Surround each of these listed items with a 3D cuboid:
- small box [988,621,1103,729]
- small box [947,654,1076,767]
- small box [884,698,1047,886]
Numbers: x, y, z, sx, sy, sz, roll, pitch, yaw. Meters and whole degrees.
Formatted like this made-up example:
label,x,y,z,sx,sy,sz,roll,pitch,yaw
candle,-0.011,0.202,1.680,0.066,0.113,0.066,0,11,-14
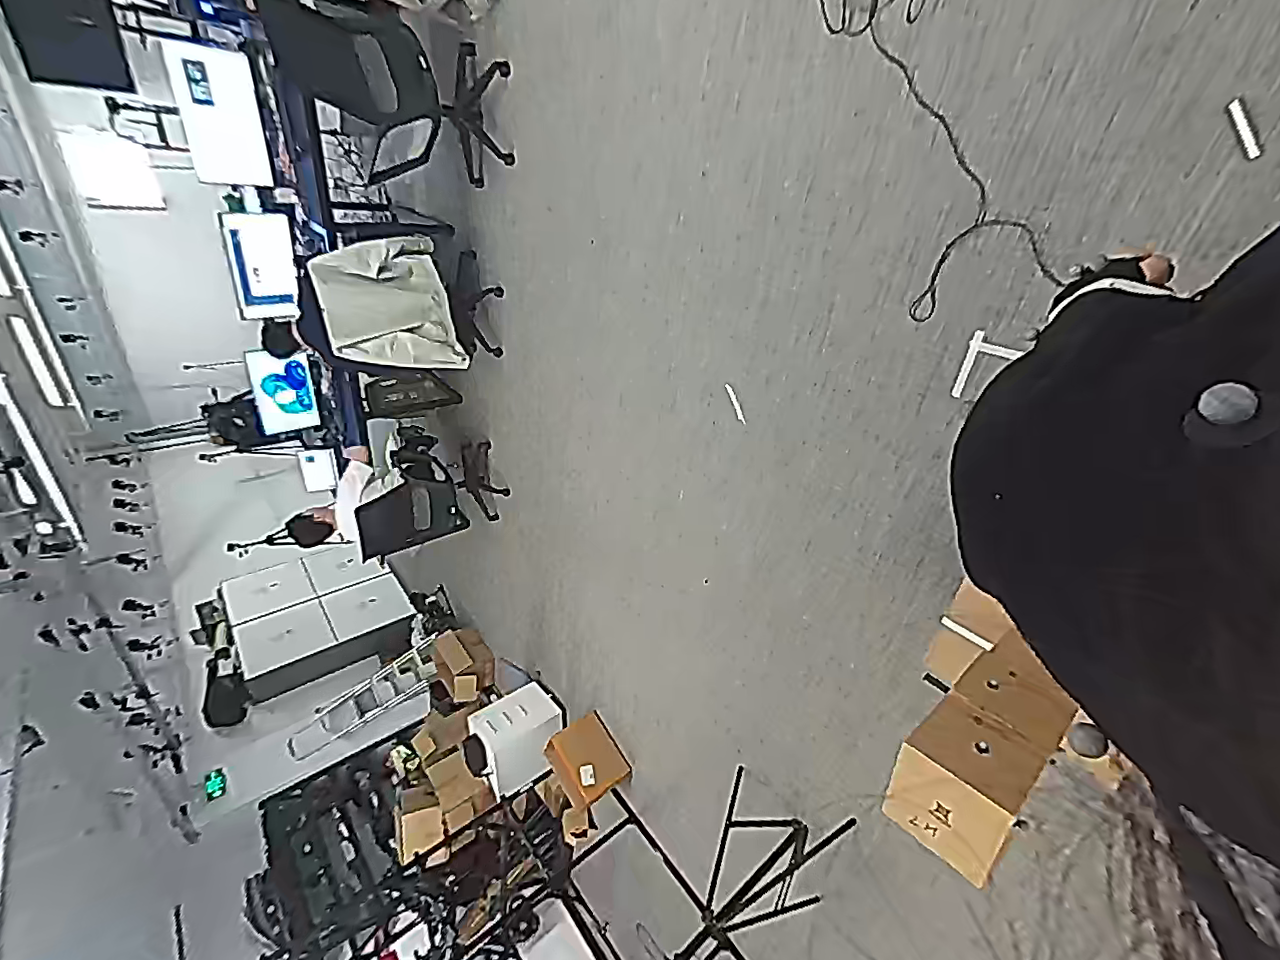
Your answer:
label,x,y,z,sx,sy,sz,roll,pitch,yaw
small box,0.793,0.424,1.098,0.168,0.176,0.179,33,128,40
small box,0.667,0.459,1.002,0.168,0.176,0.179,32,129,42
small box,0.543,0.506,0.903,0.168,0.176,0.179,28,126,45
